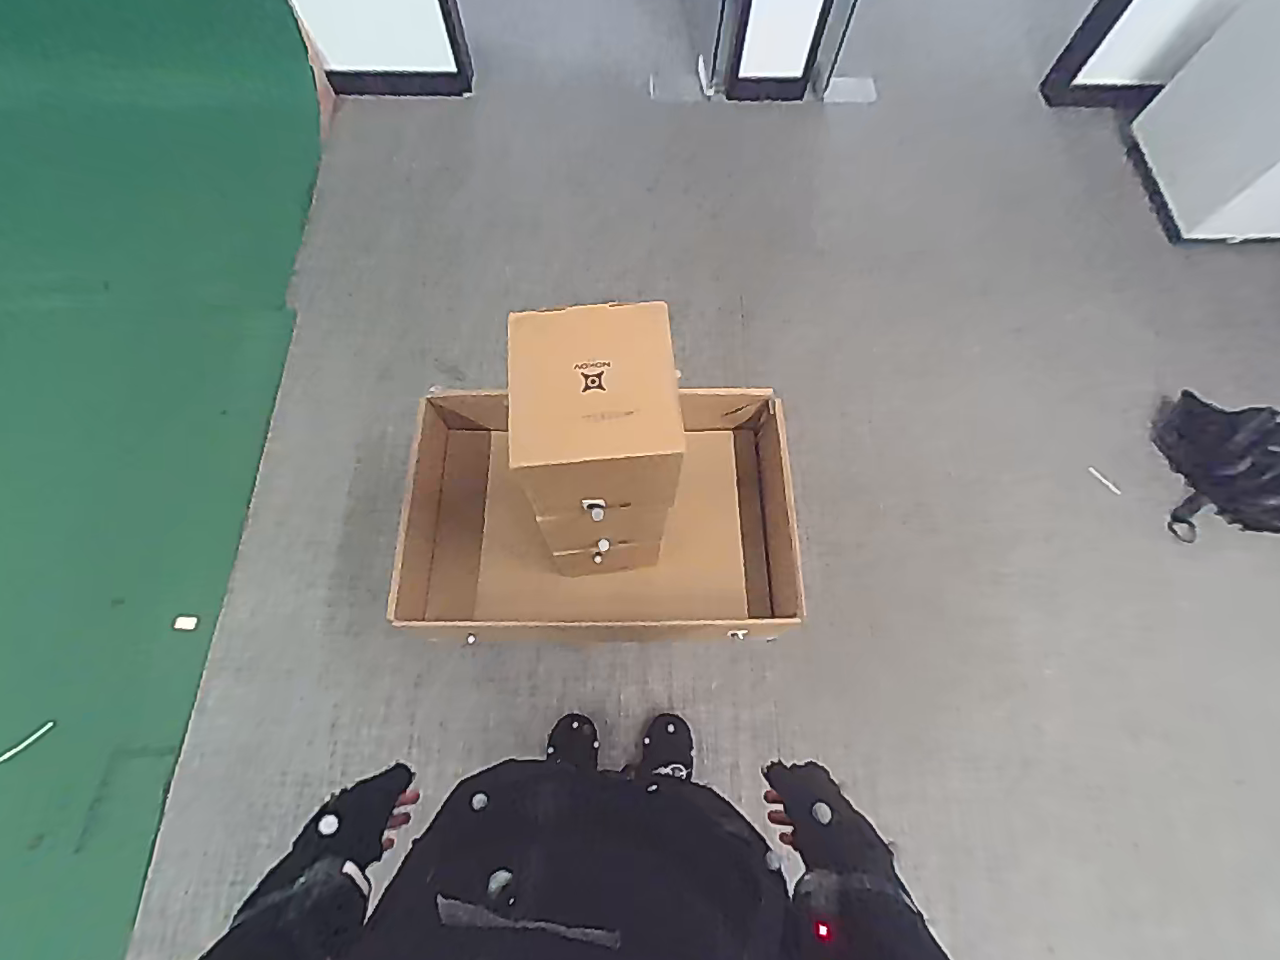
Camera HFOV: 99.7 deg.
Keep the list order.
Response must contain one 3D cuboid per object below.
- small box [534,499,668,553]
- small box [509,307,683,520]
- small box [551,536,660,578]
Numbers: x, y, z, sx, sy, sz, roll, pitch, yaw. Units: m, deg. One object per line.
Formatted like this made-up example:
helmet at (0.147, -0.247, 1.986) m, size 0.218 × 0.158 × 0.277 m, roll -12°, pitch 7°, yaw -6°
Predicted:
small box at (-0.057, -0.008, 0.758) m, size 0.168 × 0.176 × 0.179 m, roll -6°, pitch 69°, yaw -3°
small box at (-0.048, -0.067, 0.608) m, size 0.168 × 0.176 × 0.179 m, roll -6°, pitch 70°, yaw -2°
small box at (-0.061, 0.054, 0.910) m, size 0.168 × 0.176 × 0.179 m, roll -7°, pitch 68°, yaw -3°
